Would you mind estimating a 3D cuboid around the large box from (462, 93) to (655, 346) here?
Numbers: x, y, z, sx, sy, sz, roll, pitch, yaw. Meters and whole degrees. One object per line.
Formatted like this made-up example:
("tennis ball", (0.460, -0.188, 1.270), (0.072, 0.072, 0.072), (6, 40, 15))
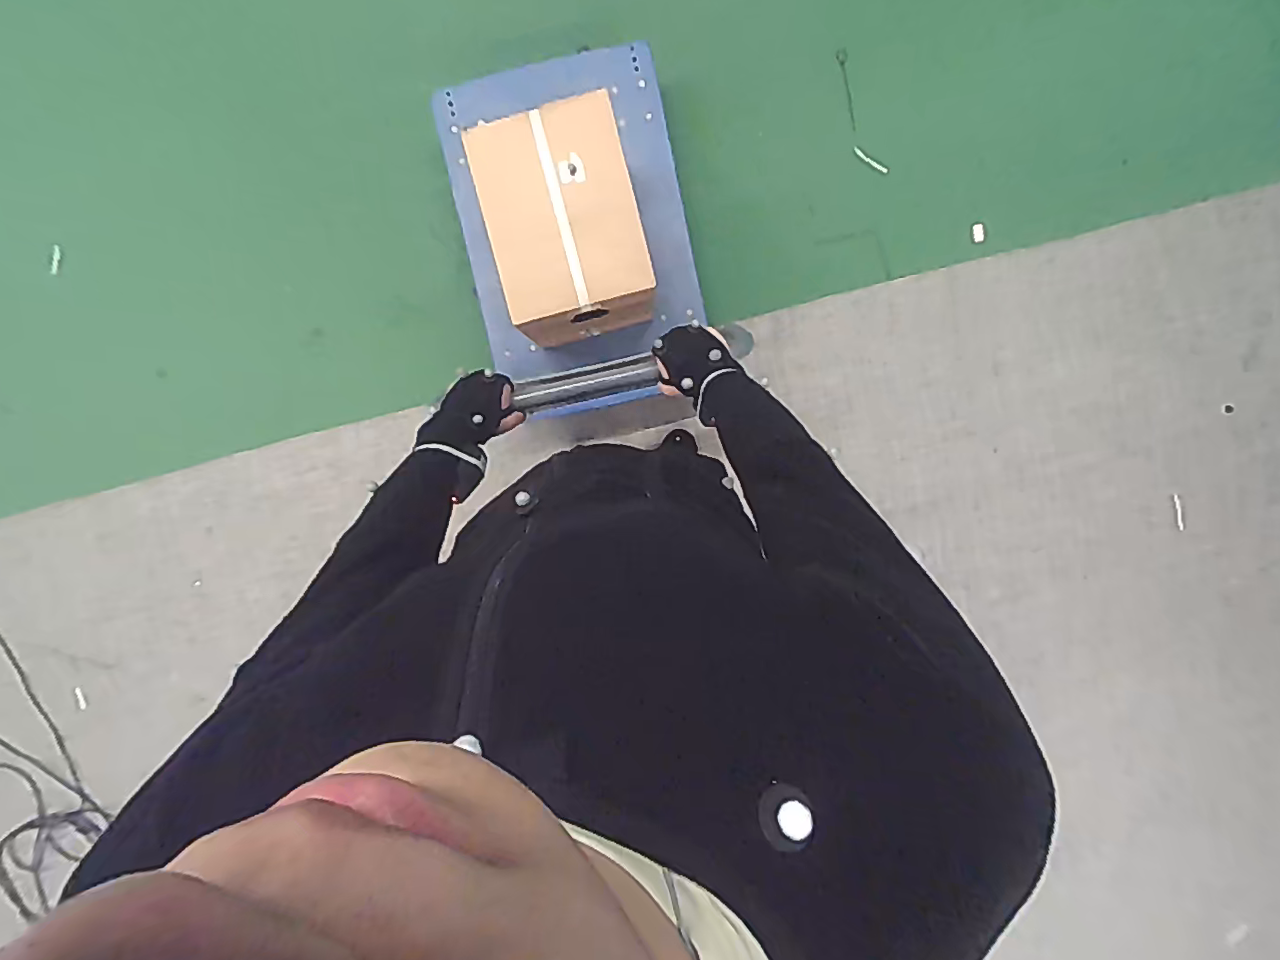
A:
("large box", (-0.162, -0.569, 1.264), (0.320, 0.320, 0.408), (-14, 94, 2))
